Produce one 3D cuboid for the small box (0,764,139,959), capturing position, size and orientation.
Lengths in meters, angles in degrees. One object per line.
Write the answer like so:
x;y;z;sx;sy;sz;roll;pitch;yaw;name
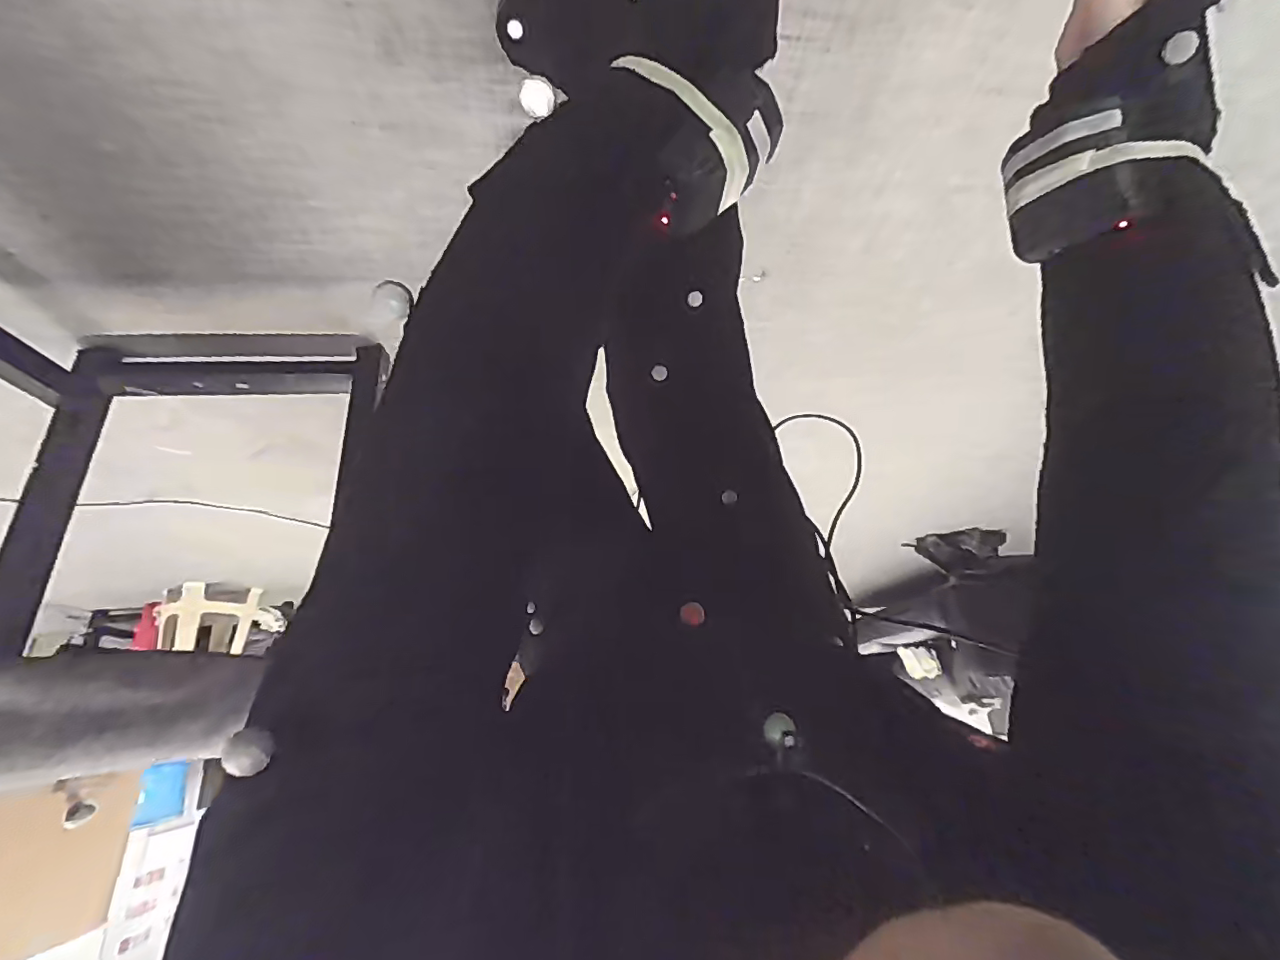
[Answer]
-0.638;0.367;0.506;0.179;0.176;0.168;-3;157;-3;small box
